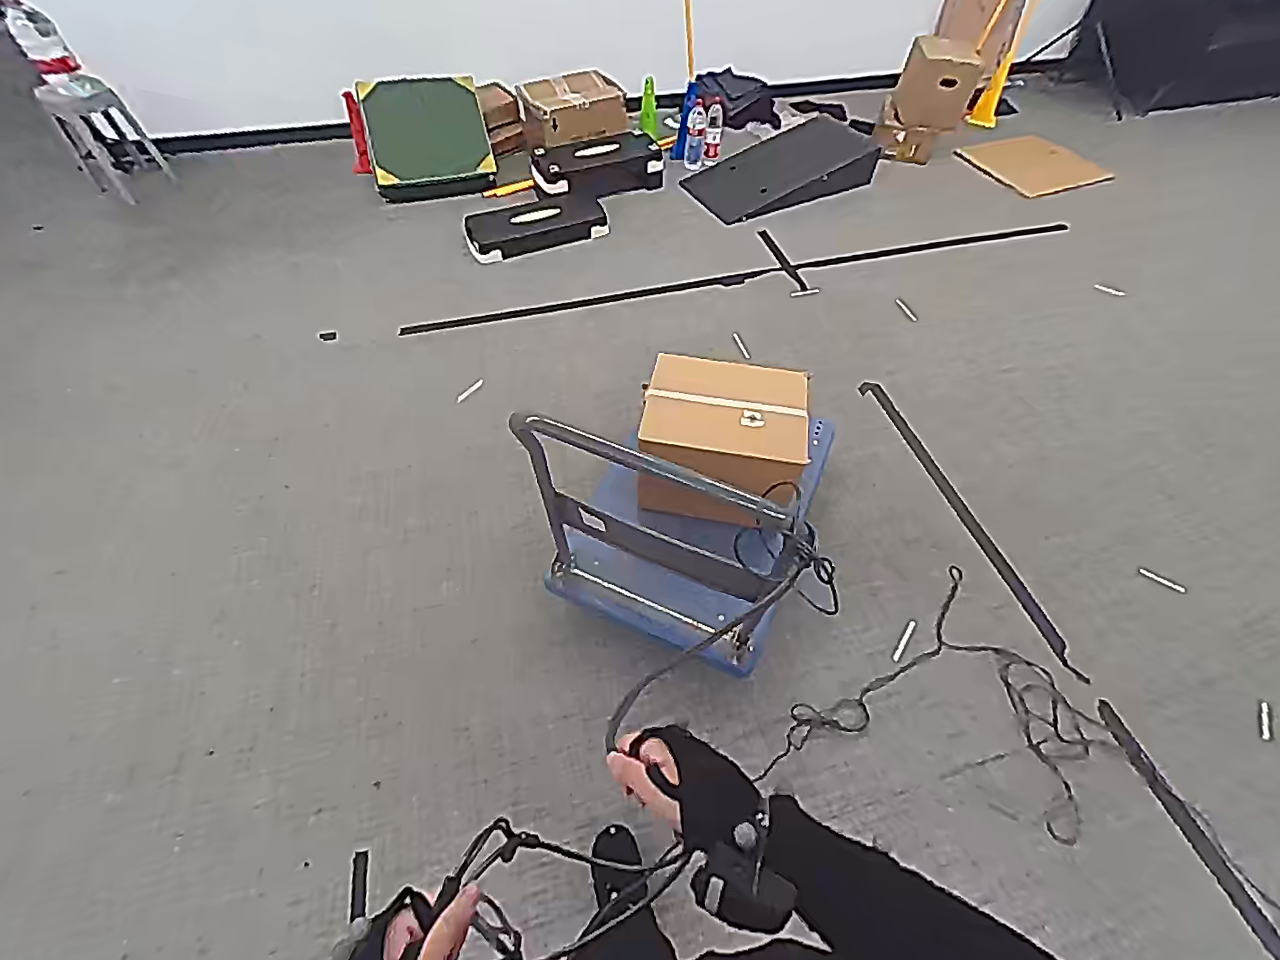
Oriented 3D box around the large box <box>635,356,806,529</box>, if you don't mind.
[{"bbox_3d":[0.208,-0.096,1.467,0.408,0.320,0.320,9,56,5],"label":"large box"}]
